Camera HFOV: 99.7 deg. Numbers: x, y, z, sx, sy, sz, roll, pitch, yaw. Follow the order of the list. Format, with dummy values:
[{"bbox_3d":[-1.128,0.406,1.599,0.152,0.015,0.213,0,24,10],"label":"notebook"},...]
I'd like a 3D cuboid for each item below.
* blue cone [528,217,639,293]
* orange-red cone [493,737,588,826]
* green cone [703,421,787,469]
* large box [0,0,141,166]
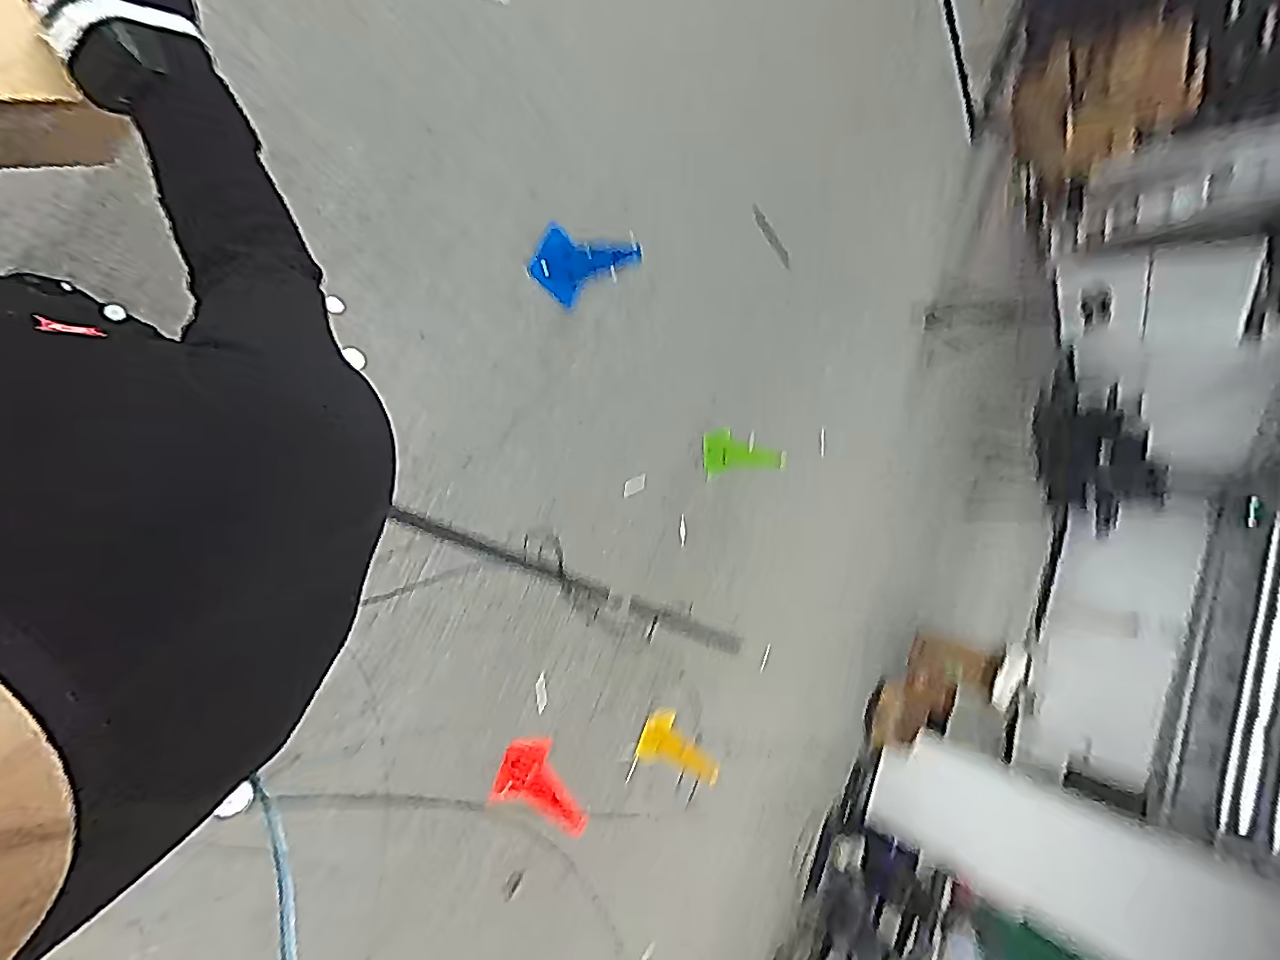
[{"bbox_3d":[-0.152,-0.705,1.642,0.193,0.380,0.192,36,72,-44],"label":"blue cone"},{"bbox_3d":[-0.306,1.065,1.858,0.199,0.360,0.198,29,79,-47],"label":"orange-red cone"},{"bbox_3d":[0.481,-0.142,2.393,0.200,0.368,0.202,-21,112,-42],"label":"green cone"},{"bbox_3d":[-0.623,-0.370,0.304,0.408,0.320,0.320,-30,125,-39],"label":"large box"}]
